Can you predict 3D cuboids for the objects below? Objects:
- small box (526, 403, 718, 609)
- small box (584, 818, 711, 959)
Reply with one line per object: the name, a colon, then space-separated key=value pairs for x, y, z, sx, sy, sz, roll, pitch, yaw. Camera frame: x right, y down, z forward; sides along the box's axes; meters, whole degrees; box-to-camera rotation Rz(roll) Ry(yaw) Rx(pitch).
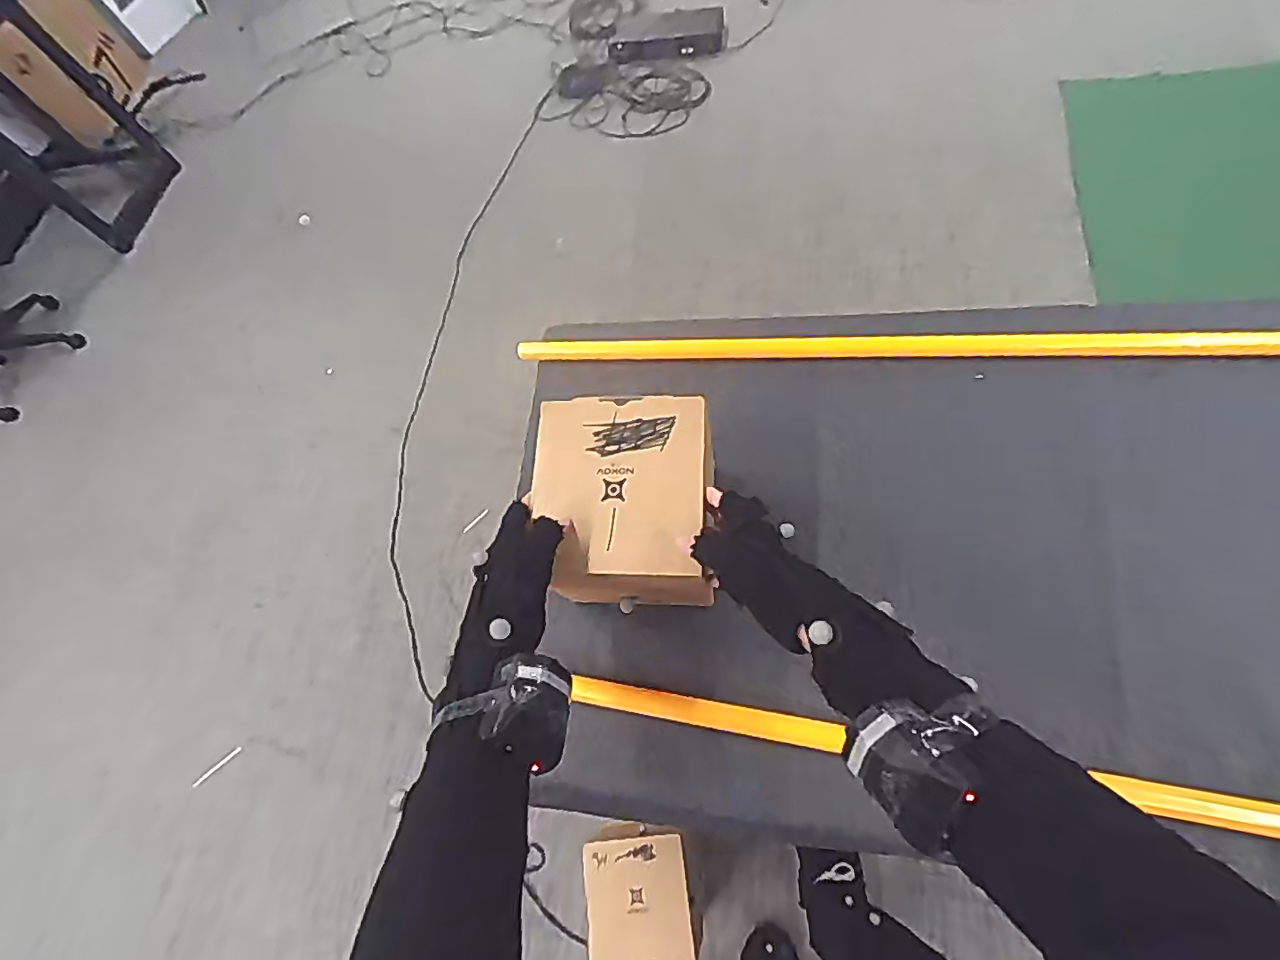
small box: x=-0.005 y=0.036 z=0.581 sx=0.168 sy=0.176 sz=0.179 roll=-1 pitch=69 yaw=11
small box: x=0.017 y=0.694 z=0.912 sx=0.168 sy=0.176 sz=0.179 roll=-14 pitch=63 yaw=8
